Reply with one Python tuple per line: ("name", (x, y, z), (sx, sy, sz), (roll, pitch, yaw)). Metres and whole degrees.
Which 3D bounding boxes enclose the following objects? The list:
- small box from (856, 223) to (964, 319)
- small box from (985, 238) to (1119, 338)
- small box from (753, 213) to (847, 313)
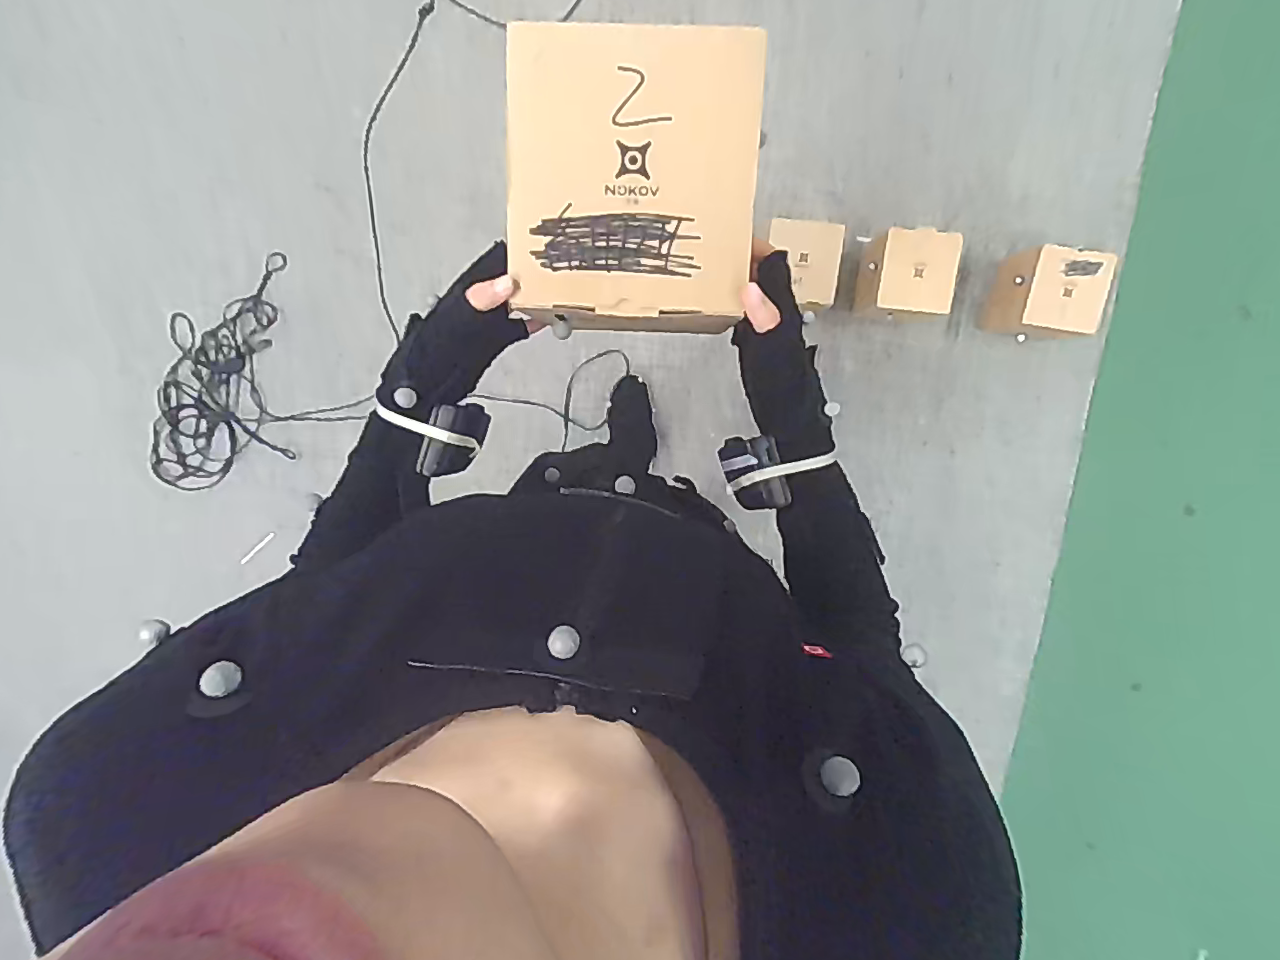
("small box", (0.624, -0.482, 1.274), (0.168, 0.176, 0.179), (6, 98, 3))
("small box", (0.947, -0.440, 1.261), (0.168, 0.176, 0.179), (10, 100, 2))
("small box", (0.370, -0.507, 1.282), (0.168, 0.176, 0.179), (7, 99, 3))
